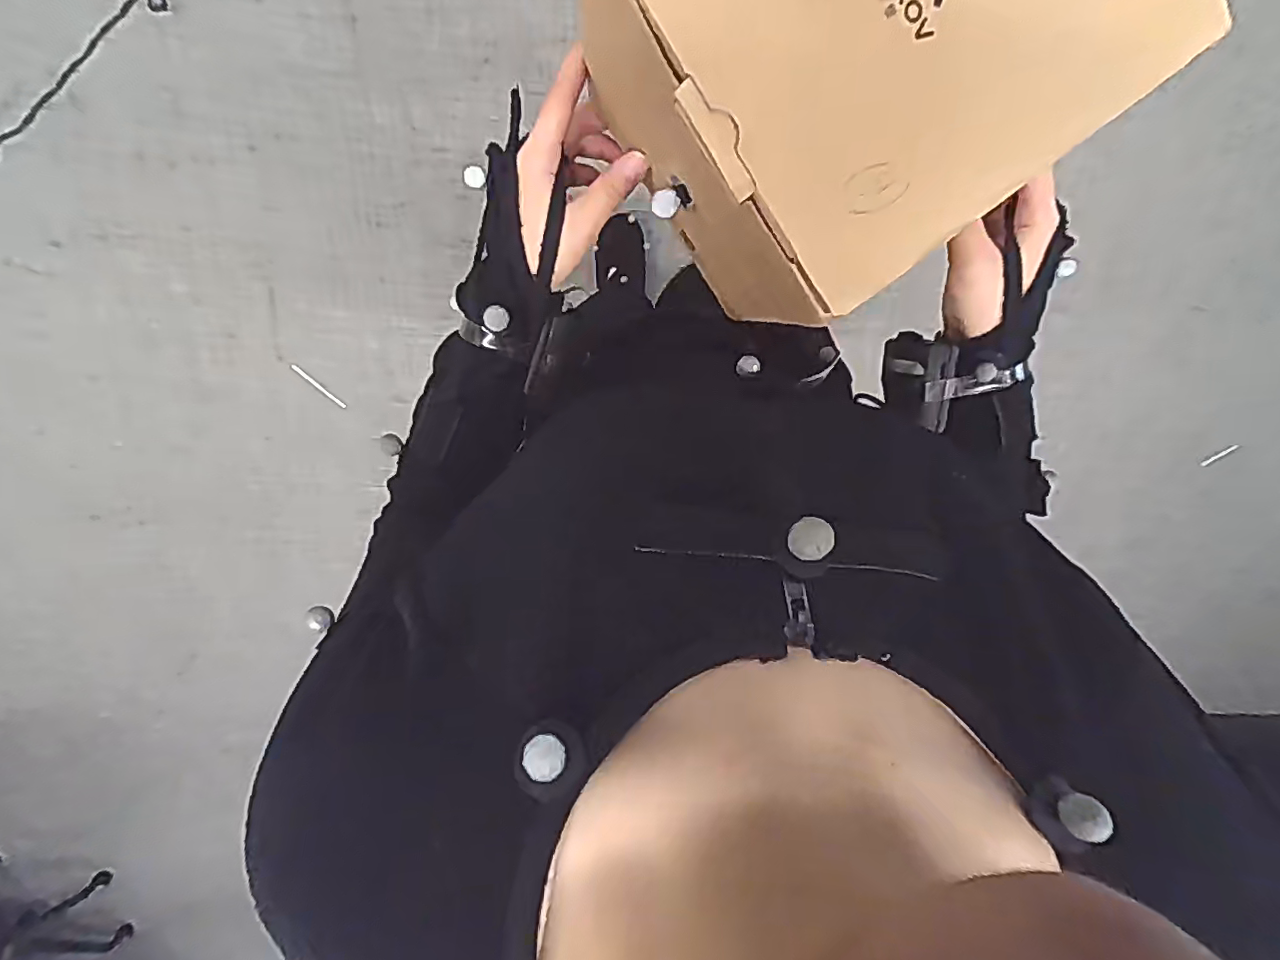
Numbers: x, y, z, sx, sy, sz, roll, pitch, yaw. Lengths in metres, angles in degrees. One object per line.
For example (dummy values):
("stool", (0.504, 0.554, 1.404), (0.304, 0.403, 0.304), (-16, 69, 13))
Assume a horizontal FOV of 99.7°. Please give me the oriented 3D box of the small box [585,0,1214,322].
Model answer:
("small box", (0.089, -0.195, 0.264), (0.179, 0.176, 0.168), (-36, 106, 8))
